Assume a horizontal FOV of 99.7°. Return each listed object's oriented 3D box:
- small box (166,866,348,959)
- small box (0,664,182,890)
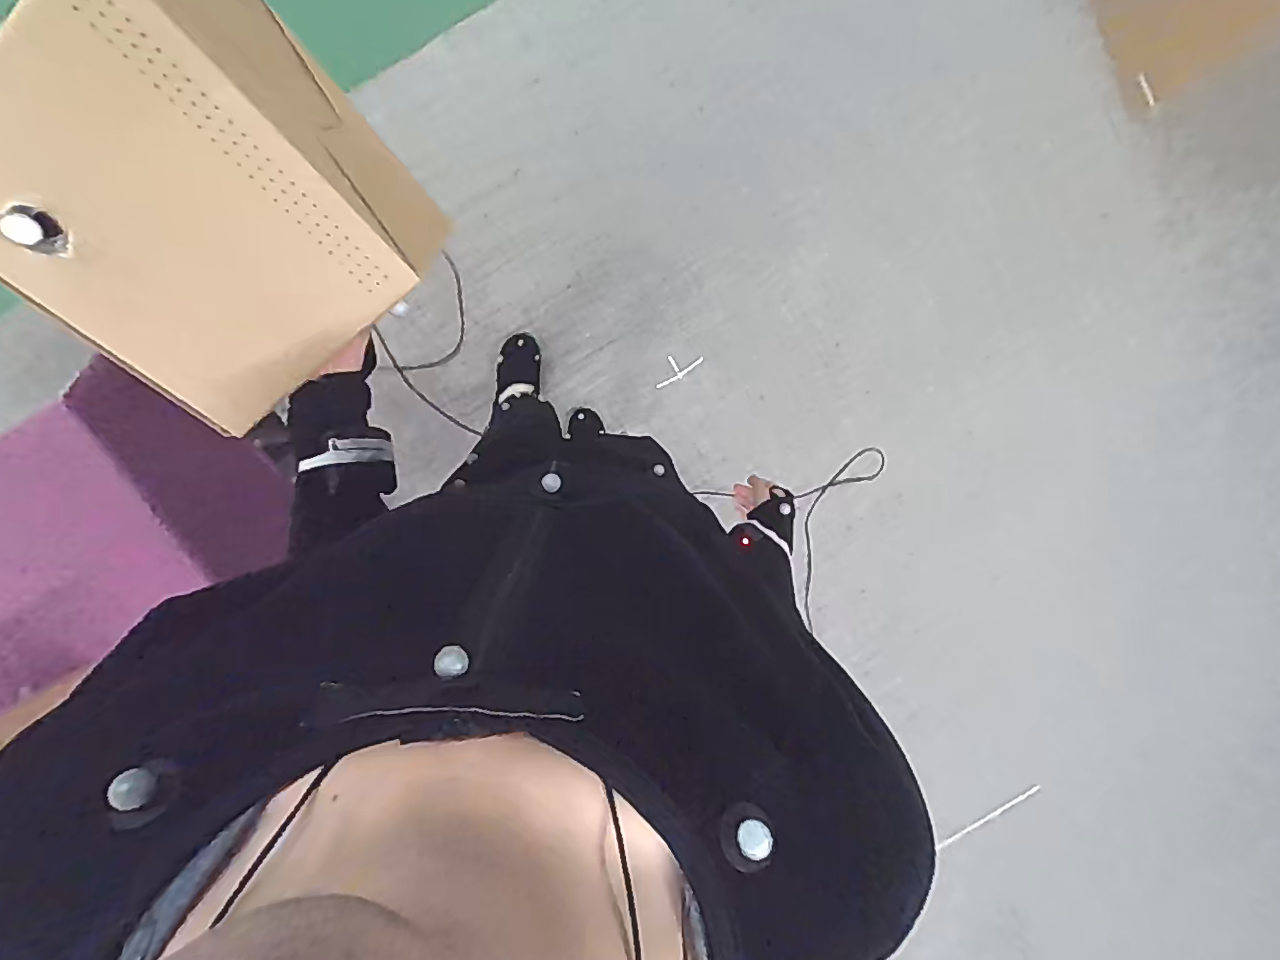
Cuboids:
[{"bbox_3d":[-0.564,0.712,0.770,0.168,0.176,0.179,-35,99,3],"label":"small box"},{"bbox_3d":[-0.766,0.378,0.702,0.168,0.176,0.179,-29,99,1],"label":"small box"}]
